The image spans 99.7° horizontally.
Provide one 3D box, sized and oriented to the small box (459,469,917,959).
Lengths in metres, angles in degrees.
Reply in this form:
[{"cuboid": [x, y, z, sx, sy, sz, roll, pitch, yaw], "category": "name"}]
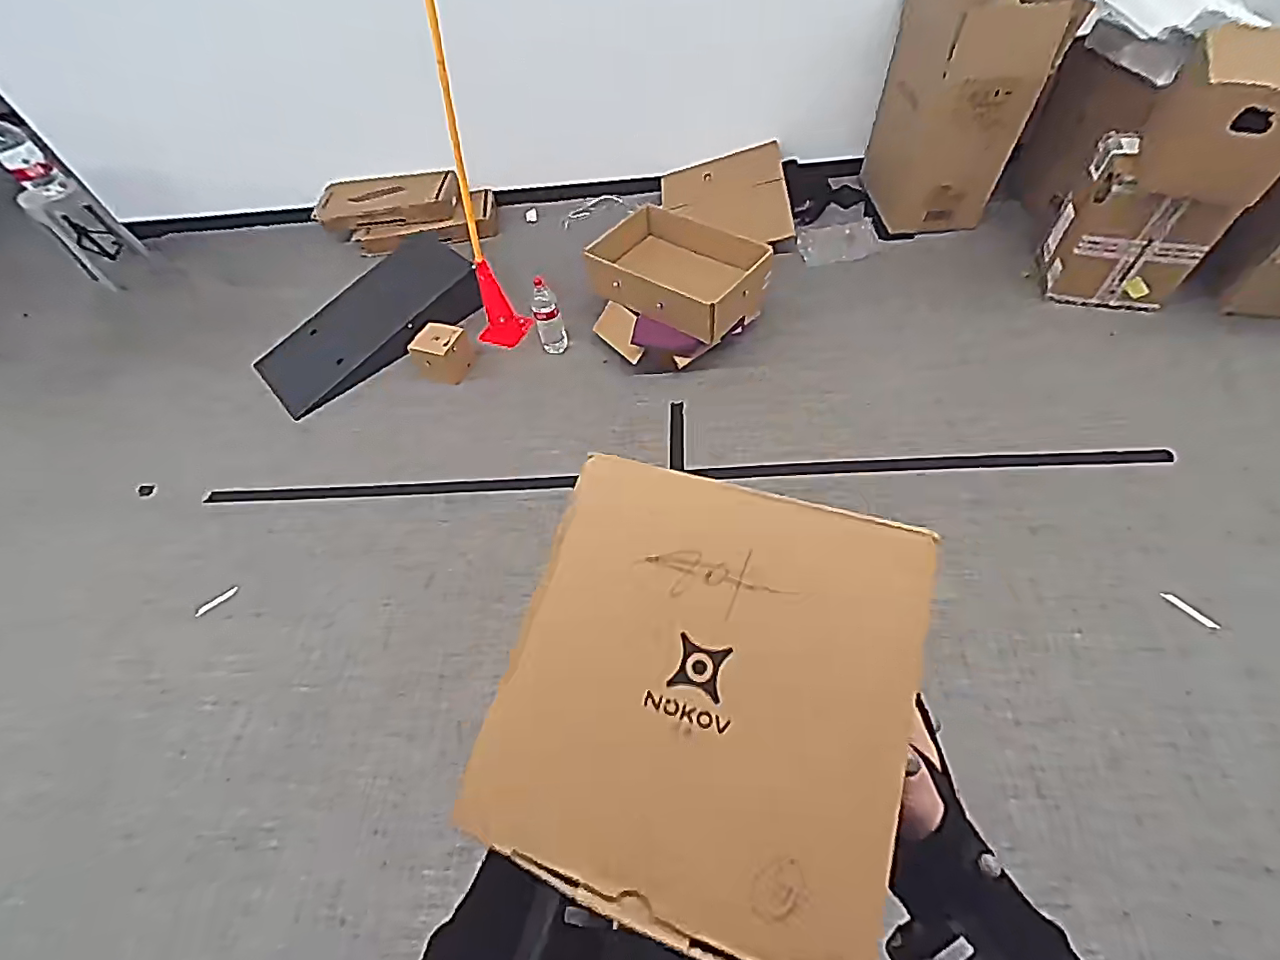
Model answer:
[{"cuboid": [0.036, 0.119, 0.309, 0.168, 0.176, 0.179, 13, 71, 15], "category": "small box"}]
